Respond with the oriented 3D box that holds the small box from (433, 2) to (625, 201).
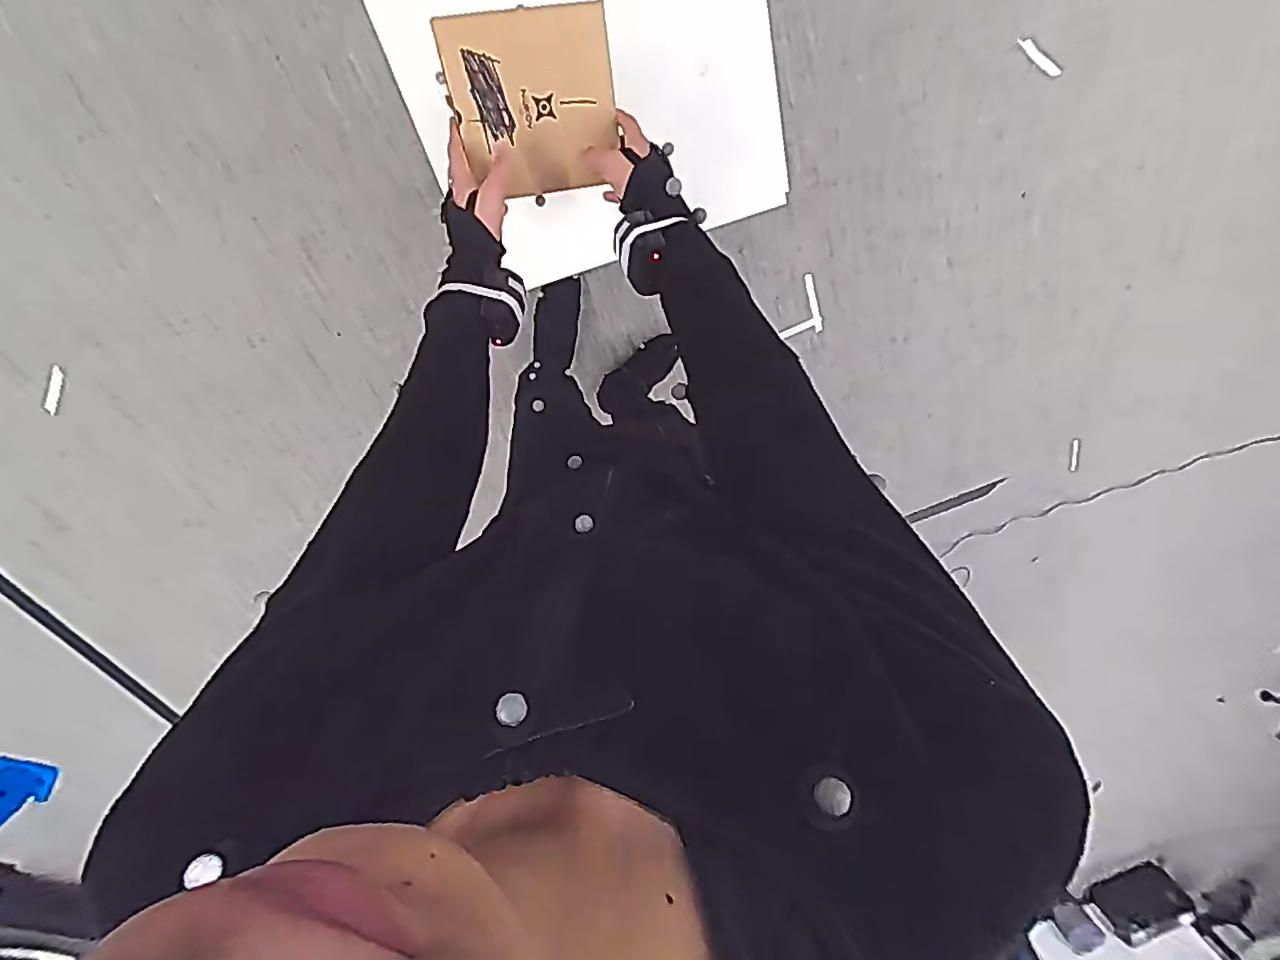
[{"bbox_3d":[-0.126,-0.435,0.643,0.179,0.176,0.168,-13,122,-8],"label":"small box"}]
